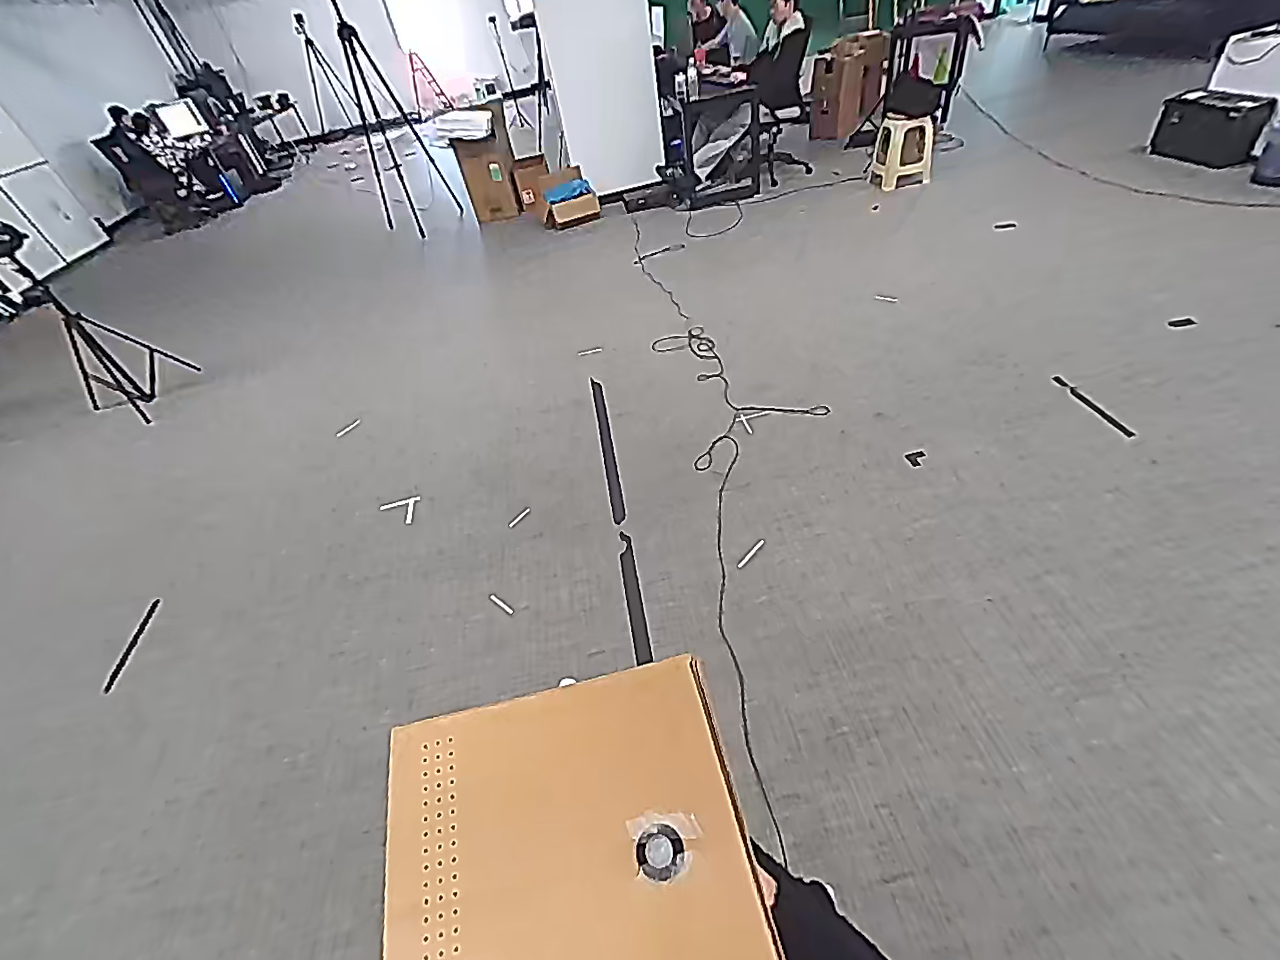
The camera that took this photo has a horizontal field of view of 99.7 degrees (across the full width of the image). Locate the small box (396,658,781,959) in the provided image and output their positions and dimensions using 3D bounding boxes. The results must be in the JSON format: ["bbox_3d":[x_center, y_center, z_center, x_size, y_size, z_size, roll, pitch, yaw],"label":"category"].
[{"bbox_3d":[-0.029,0.231,0.315,0.176,0.168,0.179,-13,55,-4],"label":"small box"}]
